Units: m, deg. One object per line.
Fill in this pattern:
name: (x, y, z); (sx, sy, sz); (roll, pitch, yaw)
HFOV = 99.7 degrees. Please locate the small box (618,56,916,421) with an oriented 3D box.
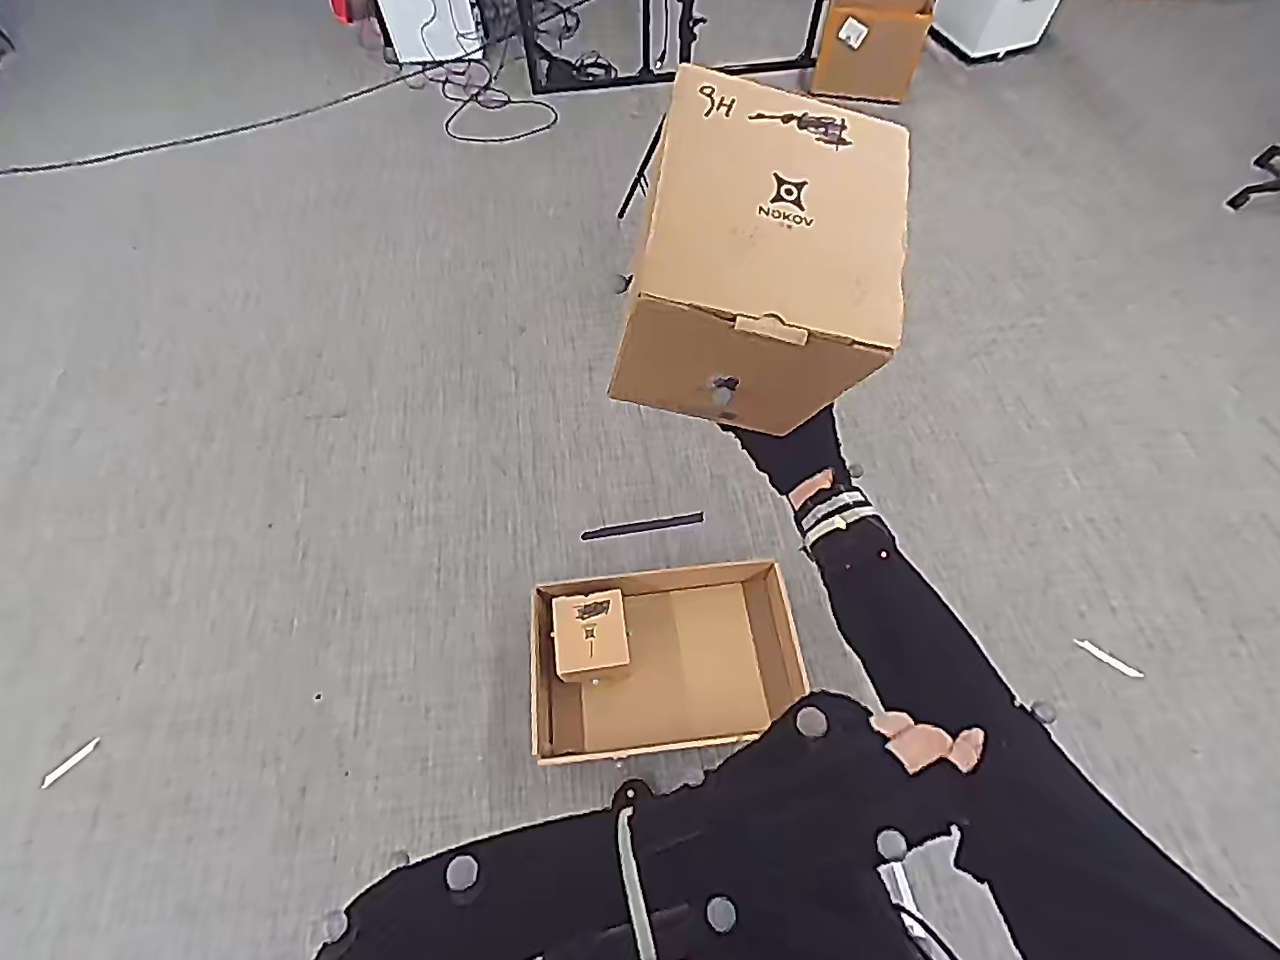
small box: (0.081, -0.160, 0.417); (0.168, 0.176, 0.179); (11, 76, -7)
